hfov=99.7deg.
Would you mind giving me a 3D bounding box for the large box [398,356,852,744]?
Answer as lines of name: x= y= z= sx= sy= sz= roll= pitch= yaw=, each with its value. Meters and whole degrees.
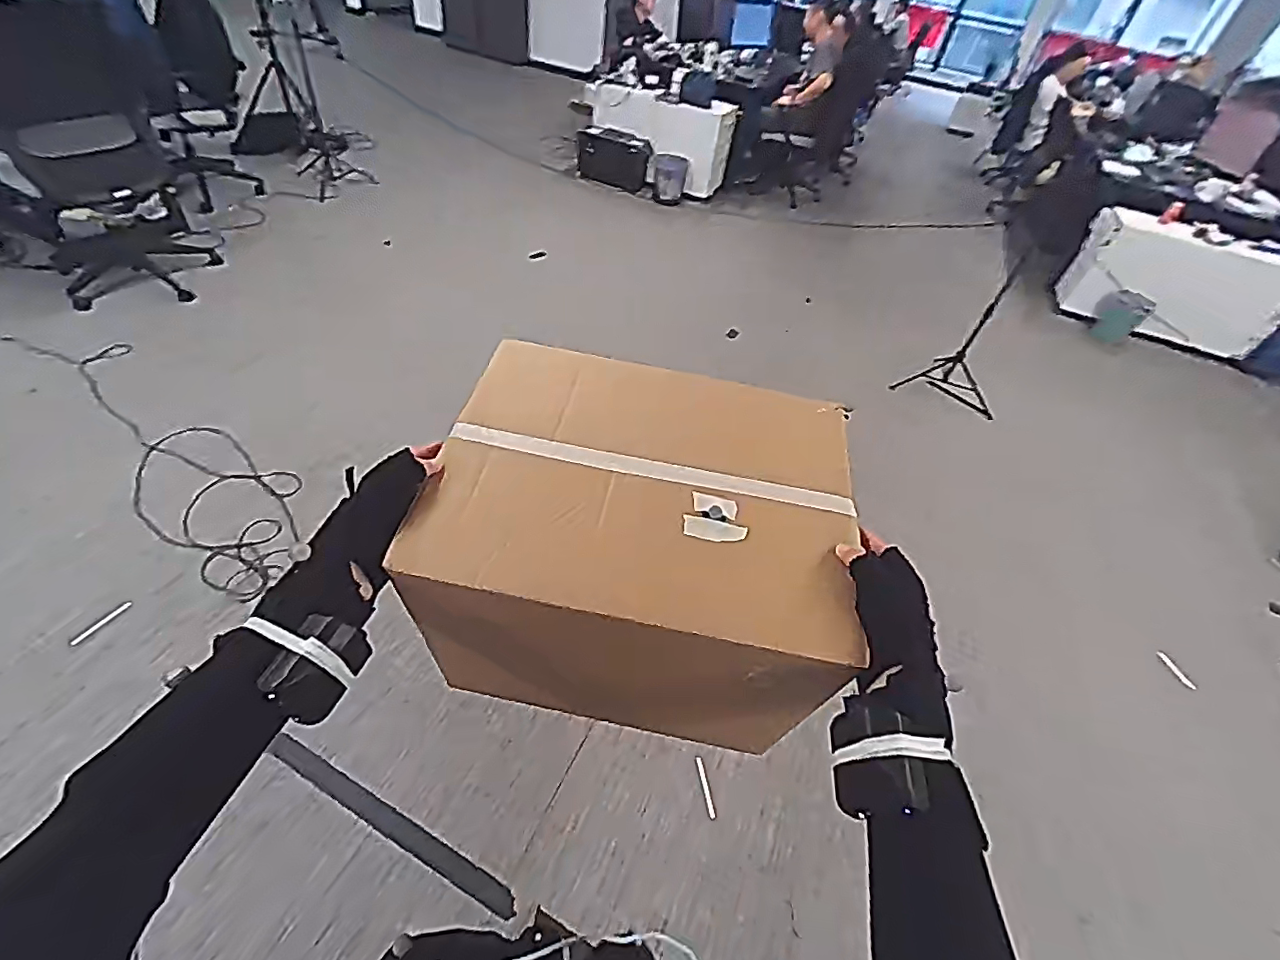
large box: x=-0.010 y=0.094 z=0.666 sx=0.408 sy=0.320 sz=0.320 roll=11 pitch=52 yaw=1
